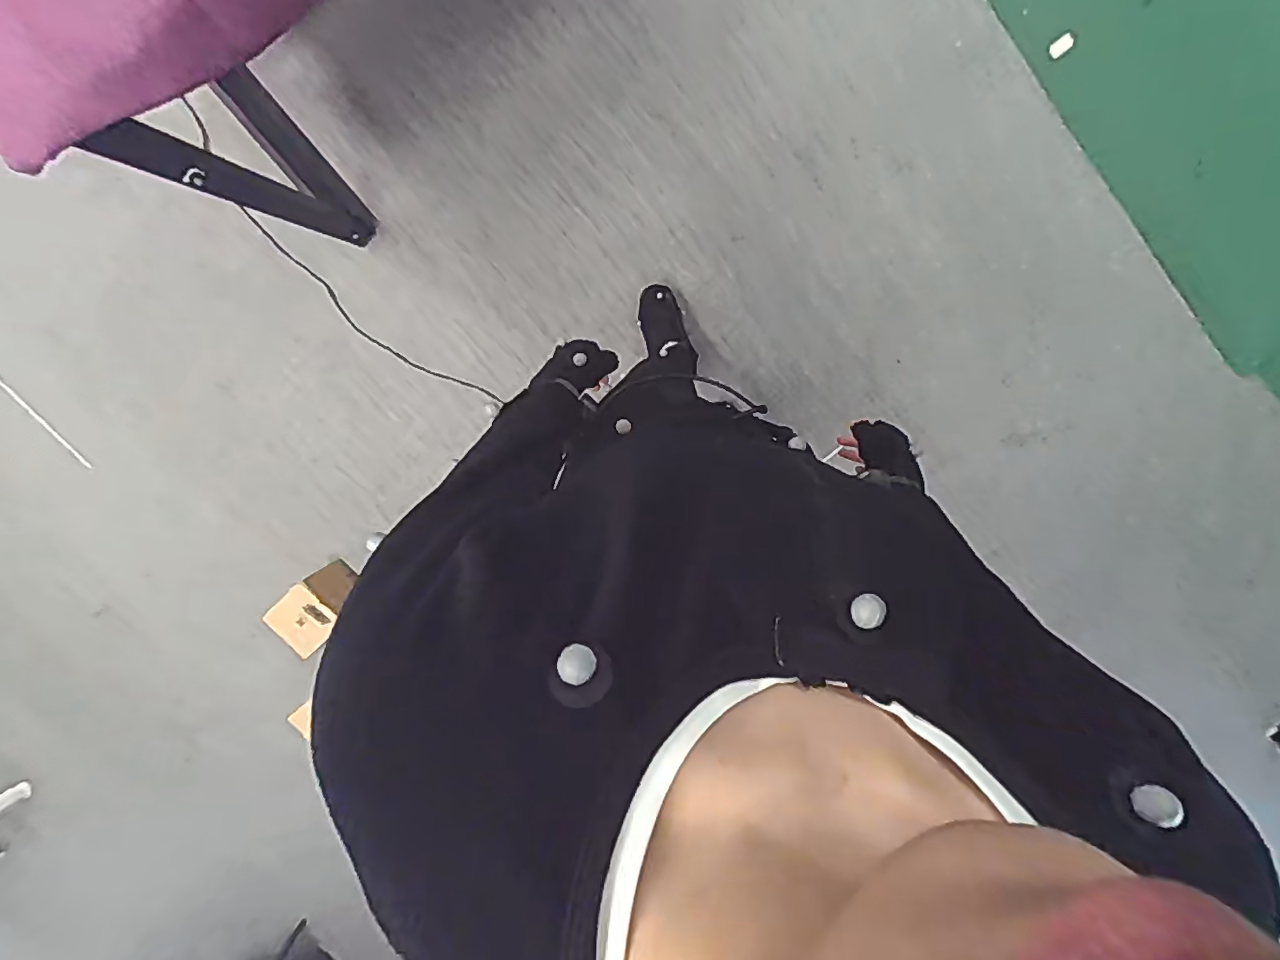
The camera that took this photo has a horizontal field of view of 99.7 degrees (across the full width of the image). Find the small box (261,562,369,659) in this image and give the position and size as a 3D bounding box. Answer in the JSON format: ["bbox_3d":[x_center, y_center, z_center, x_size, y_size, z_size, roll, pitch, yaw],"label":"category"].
[{"bbox_3d":[-0.911,0.364,1.540,0.179,0.176,0.168,-41,96,12],"label":"small box"}]
